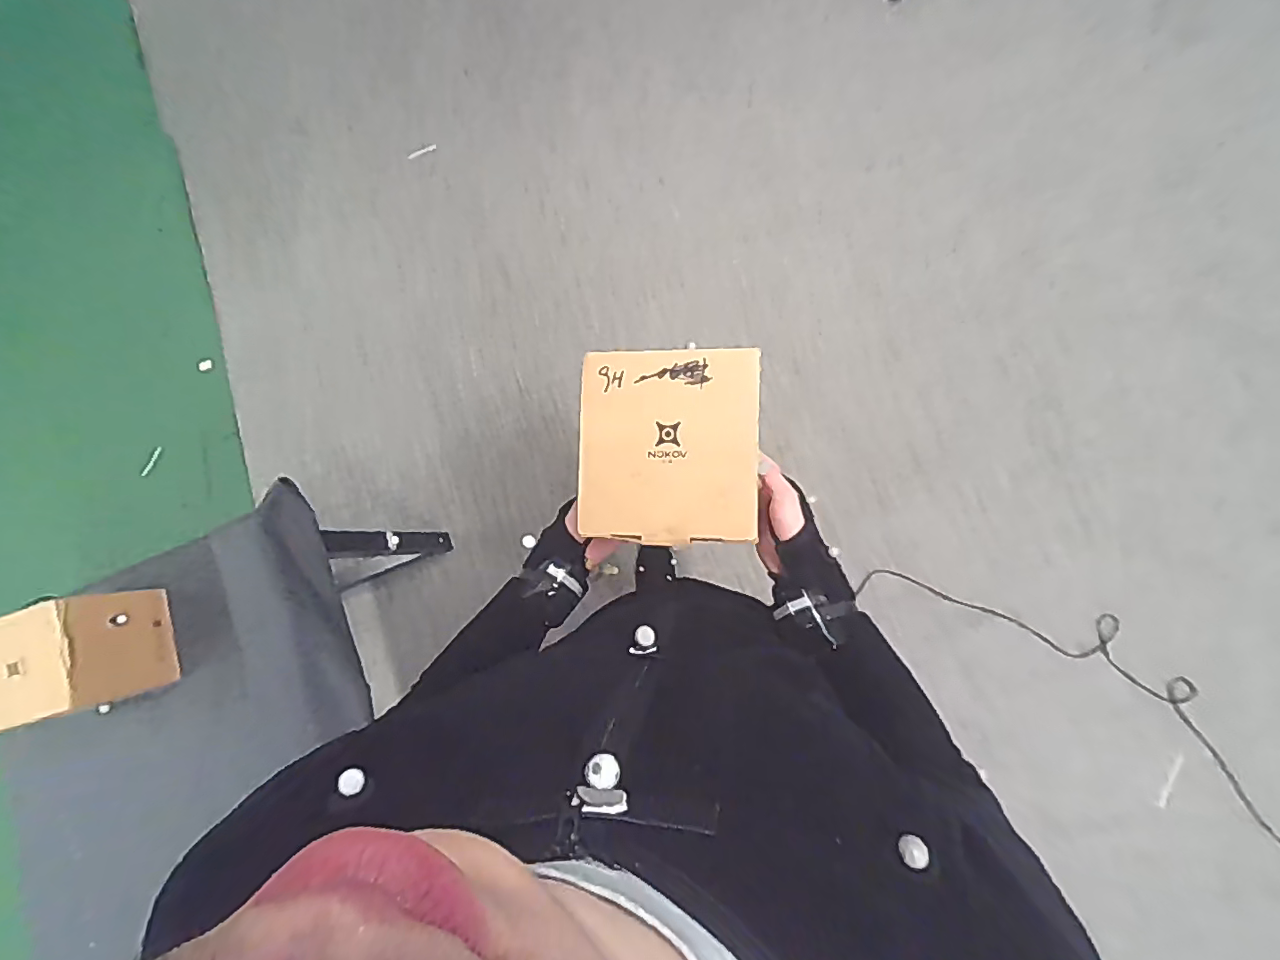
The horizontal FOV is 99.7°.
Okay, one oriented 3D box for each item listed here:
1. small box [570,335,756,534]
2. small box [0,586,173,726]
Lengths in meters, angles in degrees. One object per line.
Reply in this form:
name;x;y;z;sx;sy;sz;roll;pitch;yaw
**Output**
small box;0.033;-0.039;0.559;0.168;0.176;0.179;1;87;10
small box;-0.907;0.277;0.879;0.179;0.176;0.168;-18;80;7
